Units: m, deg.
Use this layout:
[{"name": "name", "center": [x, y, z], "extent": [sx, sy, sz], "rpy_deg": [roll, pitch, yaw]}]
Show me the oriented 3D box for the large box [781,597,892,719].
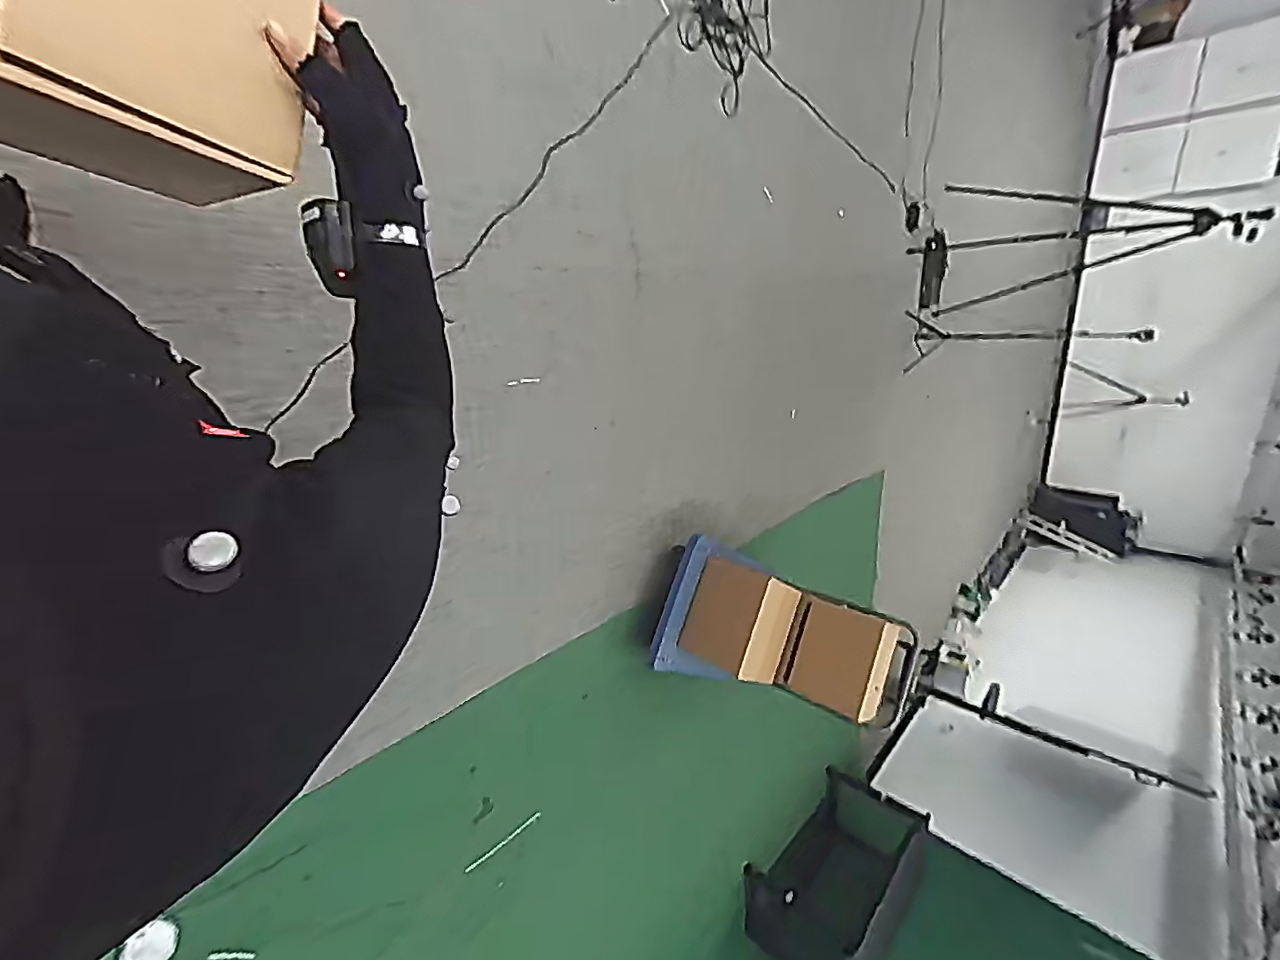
[{"name": "large box", "center": [0.854, 0.753, 2.336], "extent": [0.320, 0.320, 0.408], "rpy_deg": [26, 81, -52]}]
